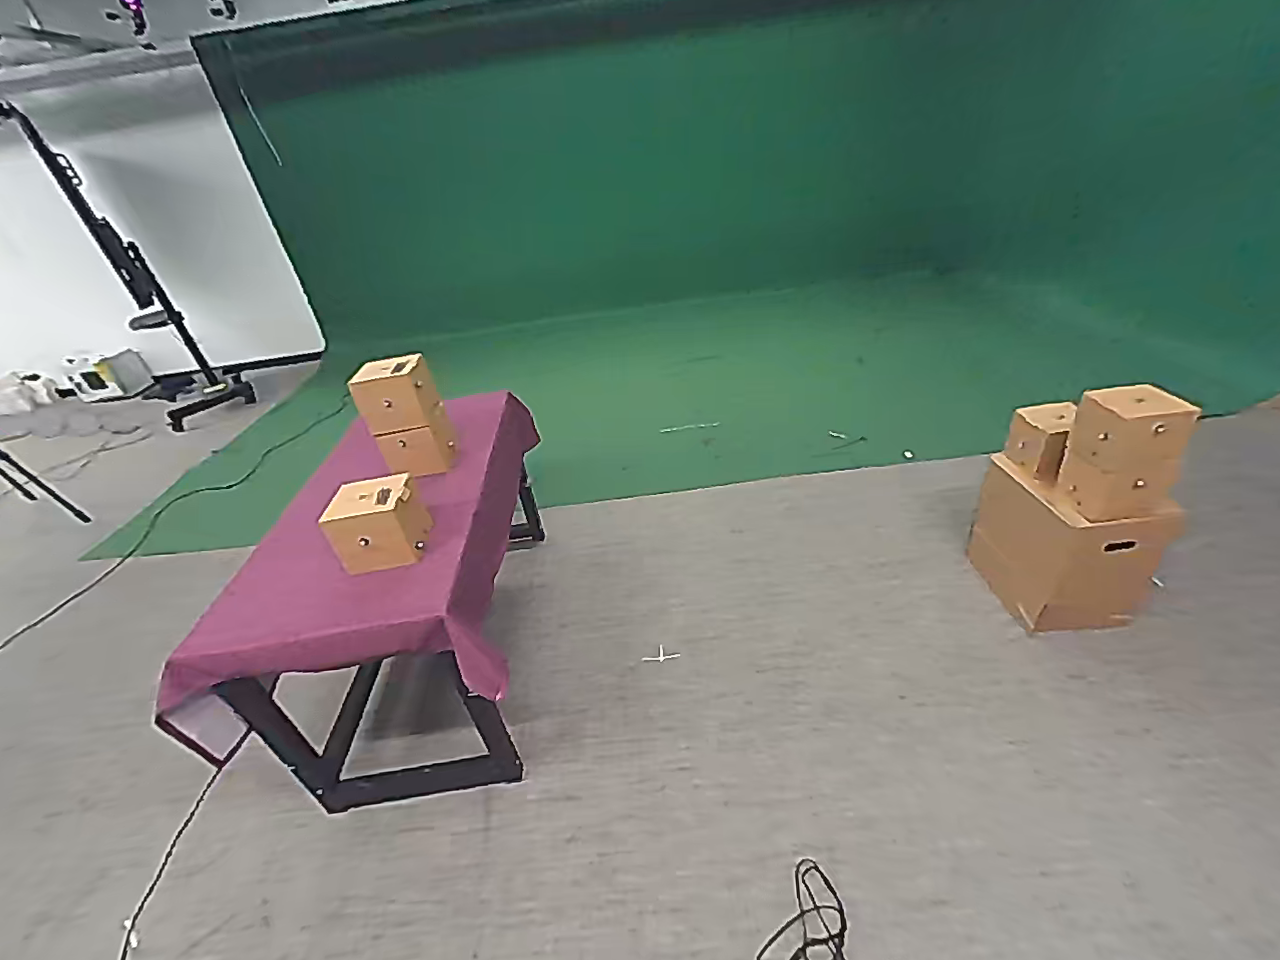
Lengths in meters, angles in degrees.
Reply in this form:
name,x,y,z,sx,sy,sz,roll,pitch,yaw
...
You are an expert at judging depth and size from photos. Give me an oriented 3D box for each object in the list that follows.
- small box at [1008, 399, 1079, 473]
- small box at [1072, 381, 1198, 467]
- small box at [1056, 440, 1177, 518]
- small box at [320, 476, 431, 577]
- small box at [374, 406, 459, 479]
name,x,y,z,sx,sy,sz,roll,pitch,yaw
small box,1.313,-0.138,1.727,0.179,0.176,0.168,-9,35,3
small box,1.304,-0.147,1.445,0.179,0.176,0.168,-7,33,3
small box,1.338,-0.013,1.533,0.179,0.176,0.168,-8,32,2
small box,-0.645,0.117,1.347,0.179,0.176,0.168,-11,33,0
small box,-0.699,-0.114,1.710,0.179,0.176,0.168,-8,34,2
